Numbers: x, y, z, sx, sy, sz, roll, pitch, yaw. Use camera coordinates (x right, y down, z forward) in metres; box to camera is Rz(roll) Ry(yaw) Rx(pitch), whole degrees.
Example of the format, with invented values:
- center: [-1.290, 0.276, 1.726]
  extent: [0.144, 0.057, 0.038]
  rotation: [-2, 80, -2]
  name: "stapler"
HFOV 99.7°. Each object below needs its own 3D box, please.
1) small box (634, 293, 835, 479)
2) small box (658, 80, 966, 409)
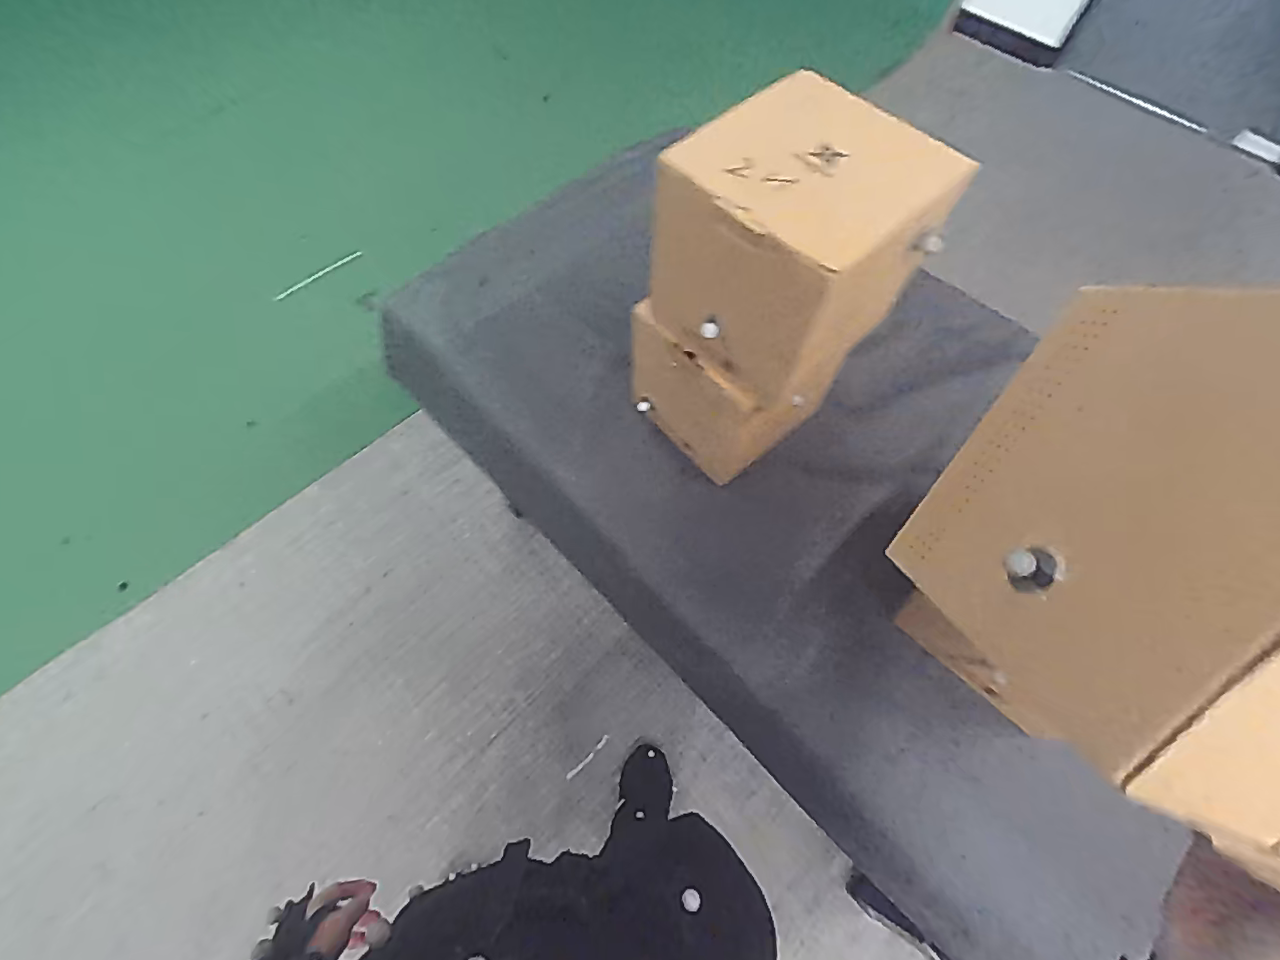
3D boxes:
- center: [0.110, -0.132, 0.628]
  extent: [0.179, 0.176, 0.168]
  rotation: [-37, 70, -18]
  name: "small box"
- center: [0.129, -0.199, 0.478]
  extent: [0.179, 0.176, 0.168]
  rotation: [-39, 70, -19]
  name: "small box"
